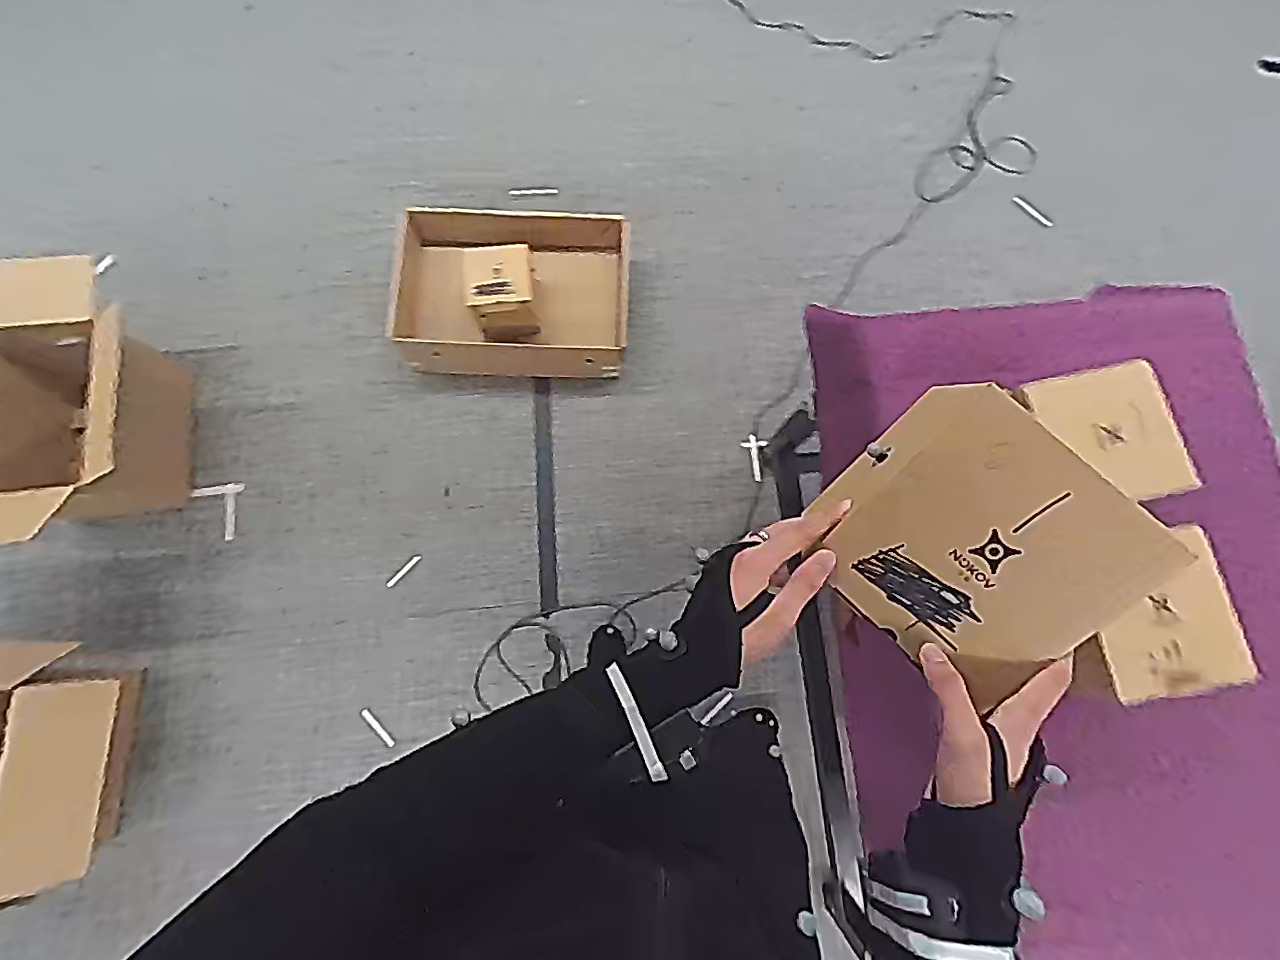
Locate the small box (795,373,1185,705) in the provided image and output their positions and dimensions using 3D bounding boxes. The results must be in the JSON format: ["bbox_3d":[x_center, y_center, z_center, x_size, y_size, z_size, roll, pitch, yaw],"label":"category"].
[{"bbox_3d":[0.250,0.035,0.443,0.168,0.176,0.179,42,107,6],"label":"small box"}]

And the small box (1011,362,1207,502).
[{"bbox_3d":[0.565,-0.035,0.722,0.179,0.176,0.168,-12,80,-4],"label":"small box"}]
